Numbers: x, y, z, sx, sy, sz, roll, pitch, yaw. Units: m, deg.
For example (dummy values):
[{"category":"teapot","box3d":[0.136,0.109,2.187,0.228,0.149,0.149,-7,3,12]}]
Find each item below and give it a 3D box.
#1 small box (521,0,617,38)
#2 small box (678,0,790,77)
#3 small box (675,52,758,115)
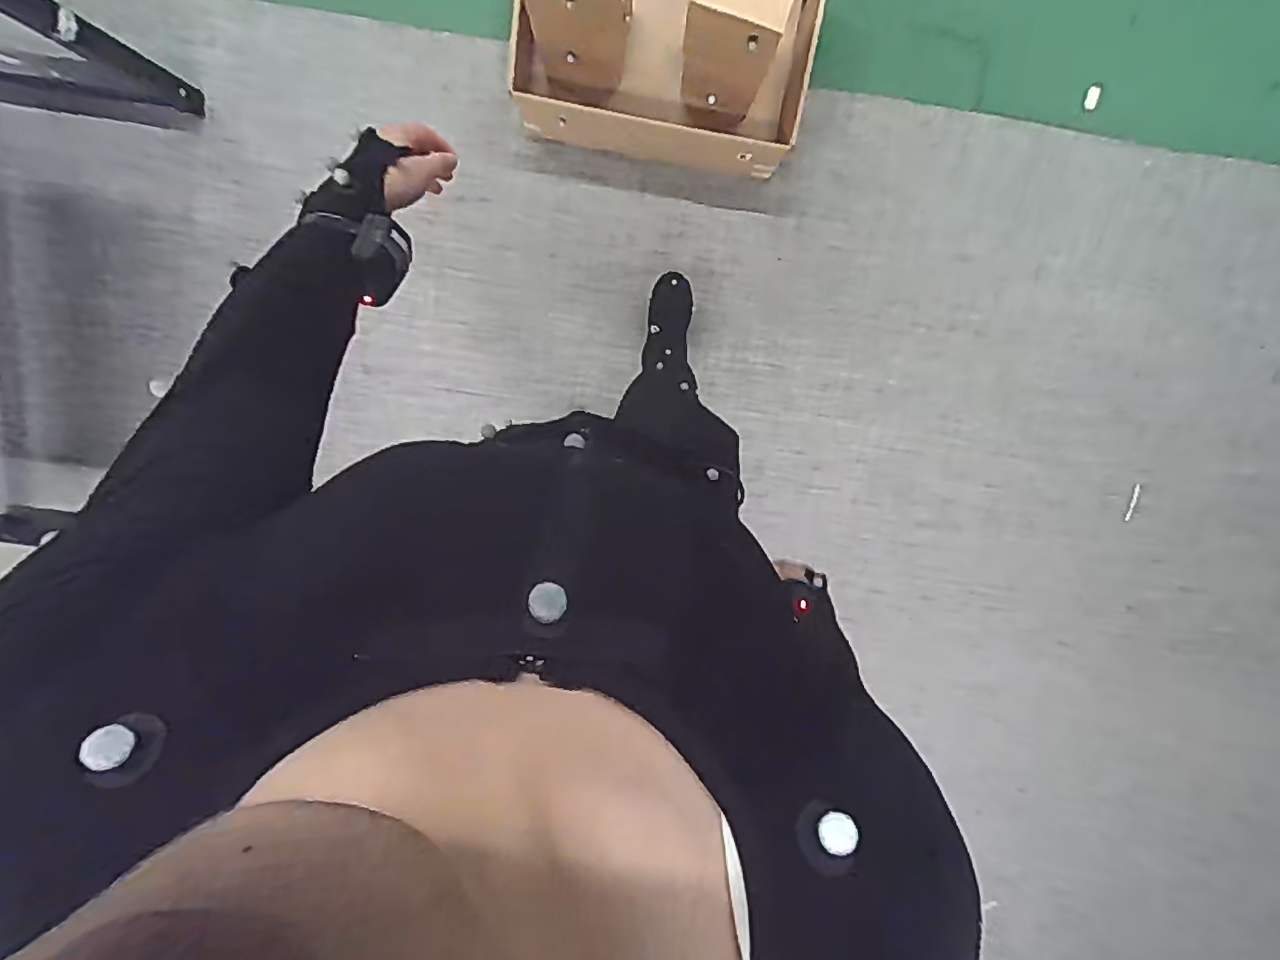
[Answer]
[{"category":"small box","box3d":[-0.130,-0.930,0.966,0.179,0.176,0.168,0,104,-3]},{"category":"small box","box3d":[0.178,-0.881,0.985,0.179,0.176,0.168,16,102,-4]},{"category":"small box","box3d":[0.177,-0.922,1.145,0.168,0.176,0.179,16,103,-4]}]
